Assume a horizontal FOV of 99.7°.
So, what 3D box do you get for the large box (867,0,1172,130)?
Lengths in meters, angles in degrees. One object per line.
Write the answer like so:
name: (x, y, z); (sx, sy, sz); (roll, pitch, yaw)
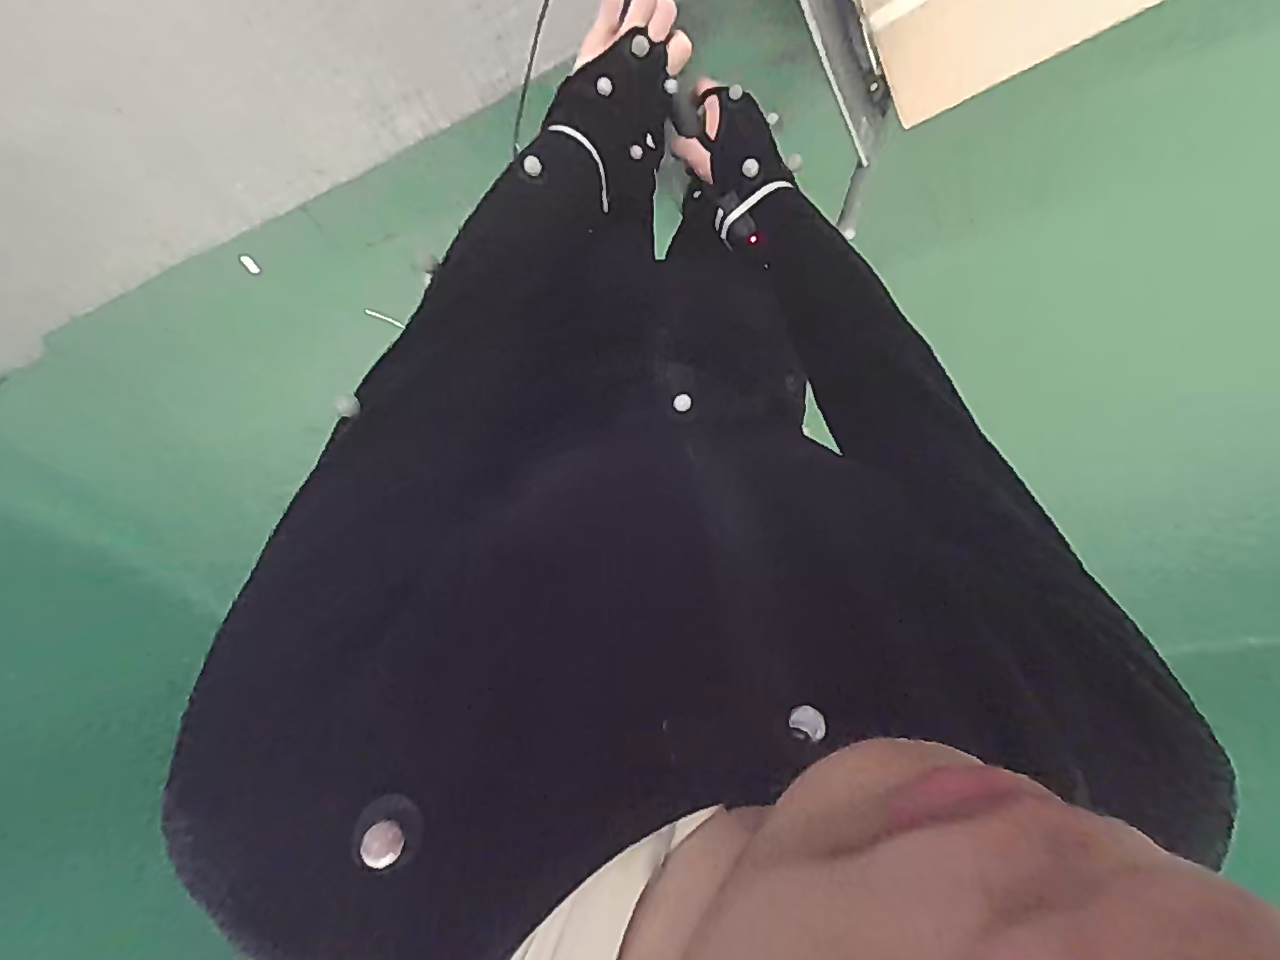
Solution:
large box: (0.522, -0.767, 0.702); (0.408, 0.320, 0.320); (-10, 136, 39)
